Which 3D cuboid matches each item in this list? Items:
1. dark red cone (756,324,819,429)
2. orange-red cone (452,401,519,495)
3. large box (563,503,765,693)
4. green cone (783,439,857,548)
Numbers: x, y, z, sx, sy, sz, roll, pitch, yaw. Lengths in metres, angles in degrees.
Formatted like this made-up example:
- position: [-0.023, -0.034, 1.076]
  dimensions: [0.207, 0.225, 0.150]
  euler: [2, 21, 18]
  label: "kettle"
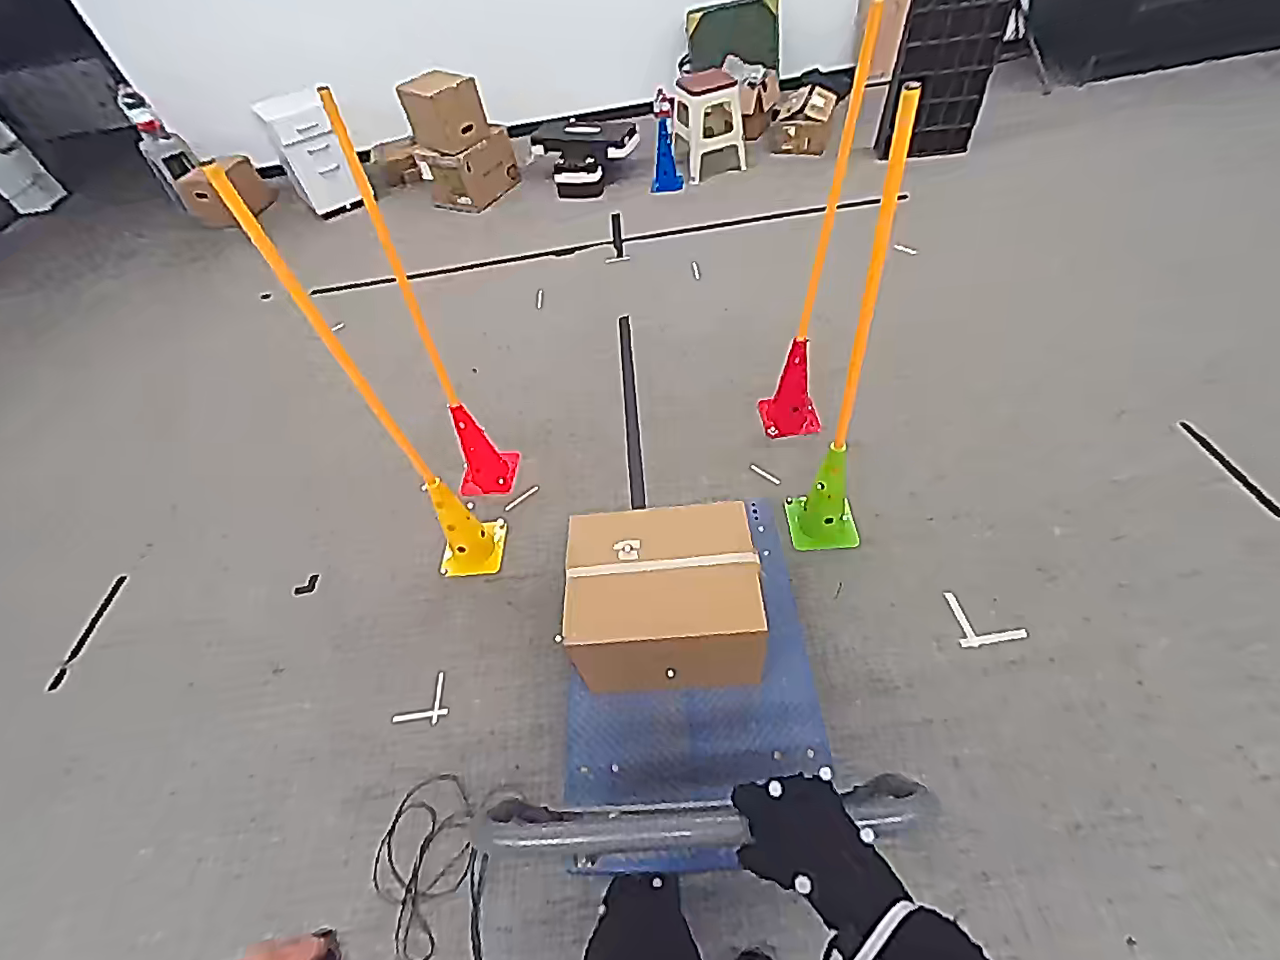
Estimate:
- position: [0.532, -0.366, 1.881]
  dimensions: [0.201, 0.394, 0.202]
  euler: [-7, 51, 1]
  label: "dark red cone"
- position: [-0.578, -0.133, 1.888]
  dimensions: [0.198, 0.360, 0.199]
  euler: [-1, 50, 6]
  label: "orange-red cone"
- position: [0.060, 0.285, 1.260]
  dimensions: [0.408, 0.320, 0.320]
  euler: [-6, 51, 5]
  label: "large box"
- position: [0.551, 0.020, 1.587]
  dimensions: [0.202, 0.368, 0.200]
  euler: [-4, 51, 4]
  label: "green cone"
